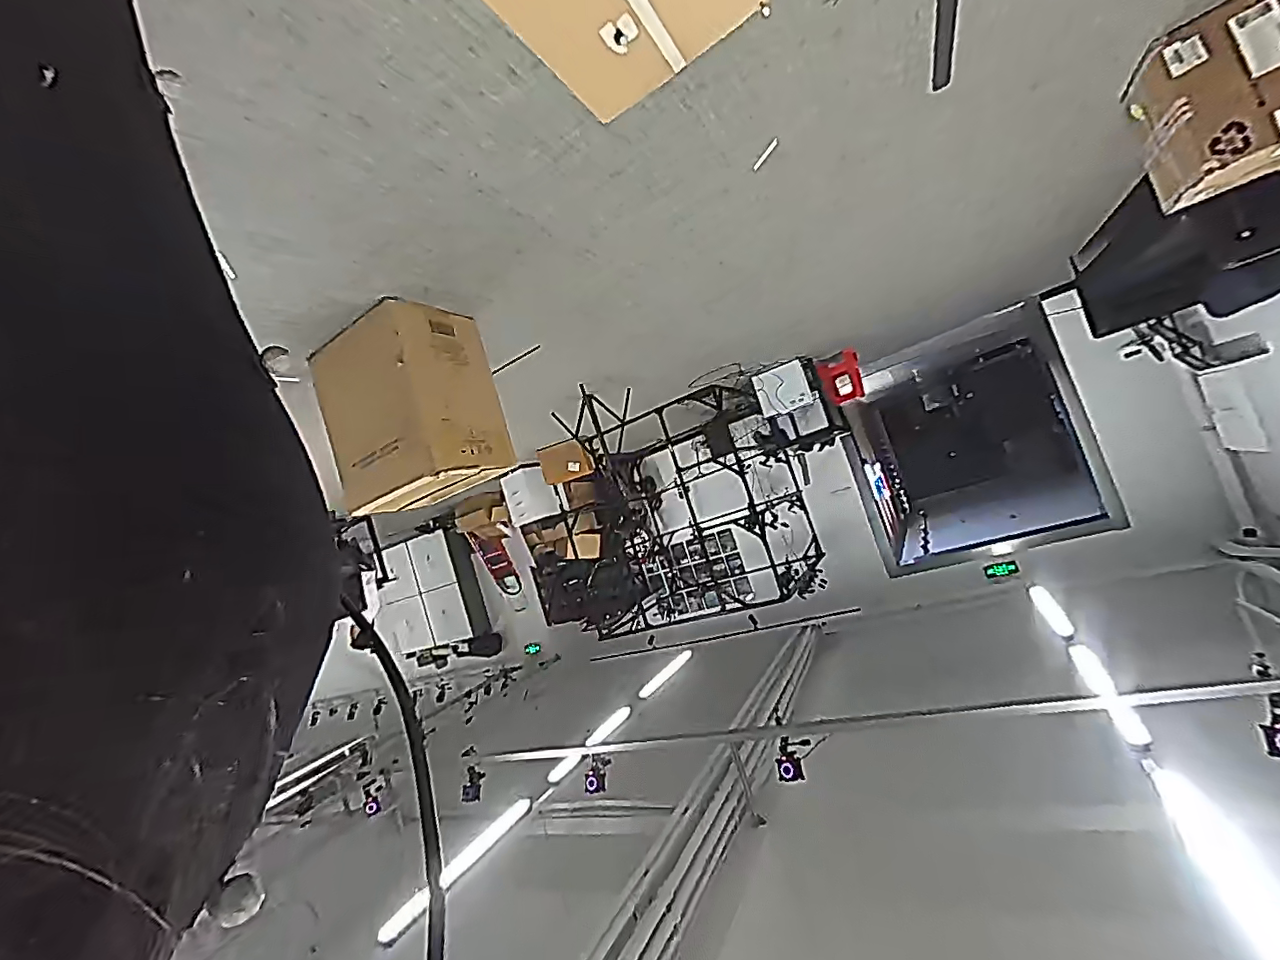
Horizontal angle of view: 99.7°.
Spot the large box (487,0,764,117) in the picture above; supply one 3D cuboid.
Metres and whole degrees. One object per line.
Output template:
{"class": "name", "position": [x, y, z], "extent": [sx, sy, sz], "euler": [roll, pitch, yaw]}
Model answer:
{"class": "large box", "position": [-0.068, -0.796, 0.701], "extent": [0.320, 0.320, 0.408], "euler": [-19, 177, 26]}
